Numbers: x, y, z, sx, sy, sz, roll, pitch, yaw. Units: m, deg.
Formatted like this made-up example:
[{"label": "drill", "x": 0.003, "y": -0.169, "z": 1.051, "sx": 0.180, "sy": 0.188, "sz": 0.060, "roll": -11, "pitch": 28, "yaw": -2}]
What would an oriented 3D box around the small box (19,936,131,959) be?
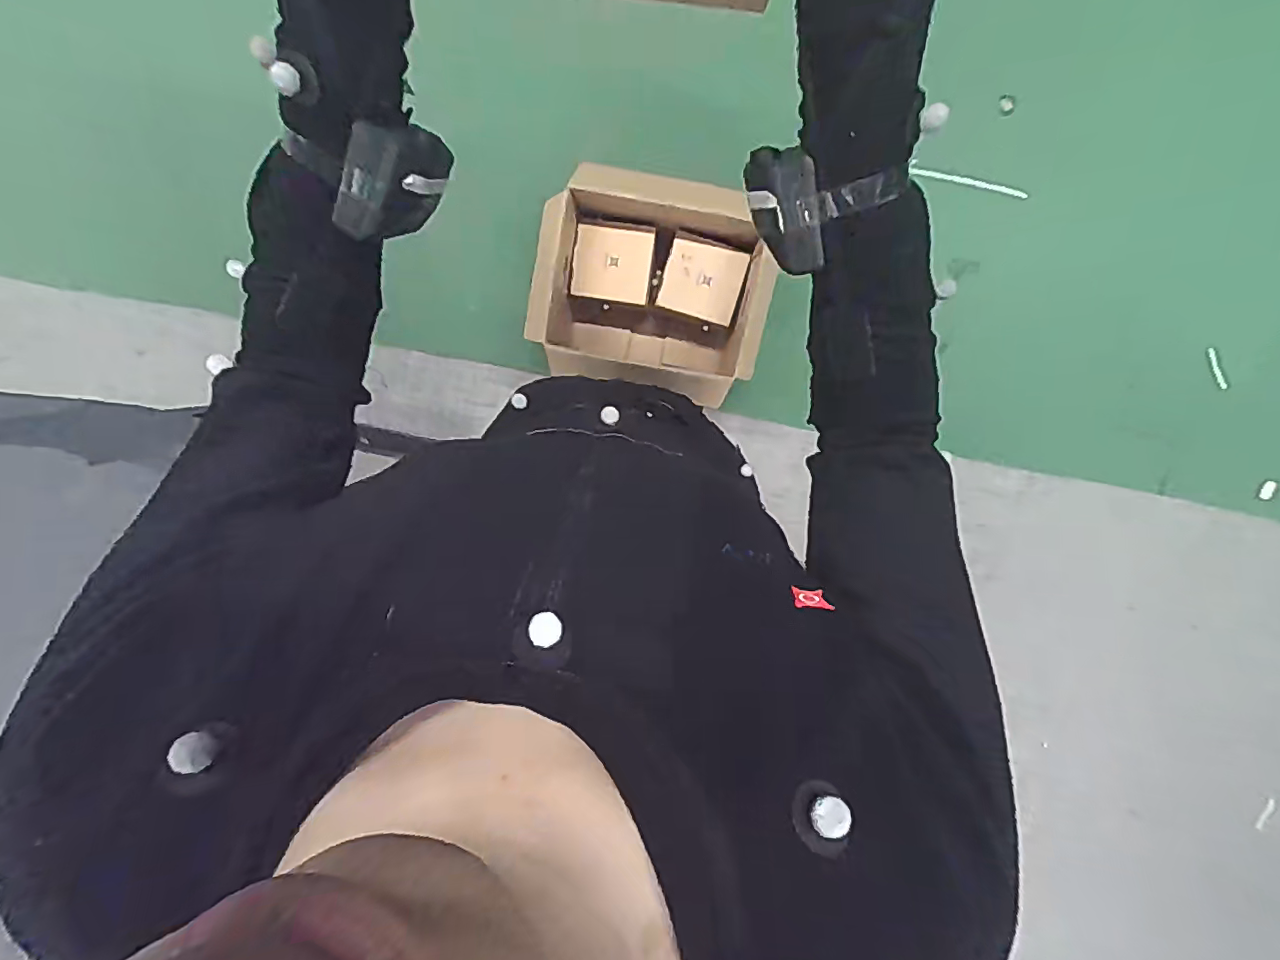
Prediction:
[{"label": "small box", "x": -0.976, "y": 0.904, "z": 0.878, "sx": 0.168, "sy": 0.176, "sz": 0.179, "roll": 10, "pitch": 101, "yaw": -1}]
